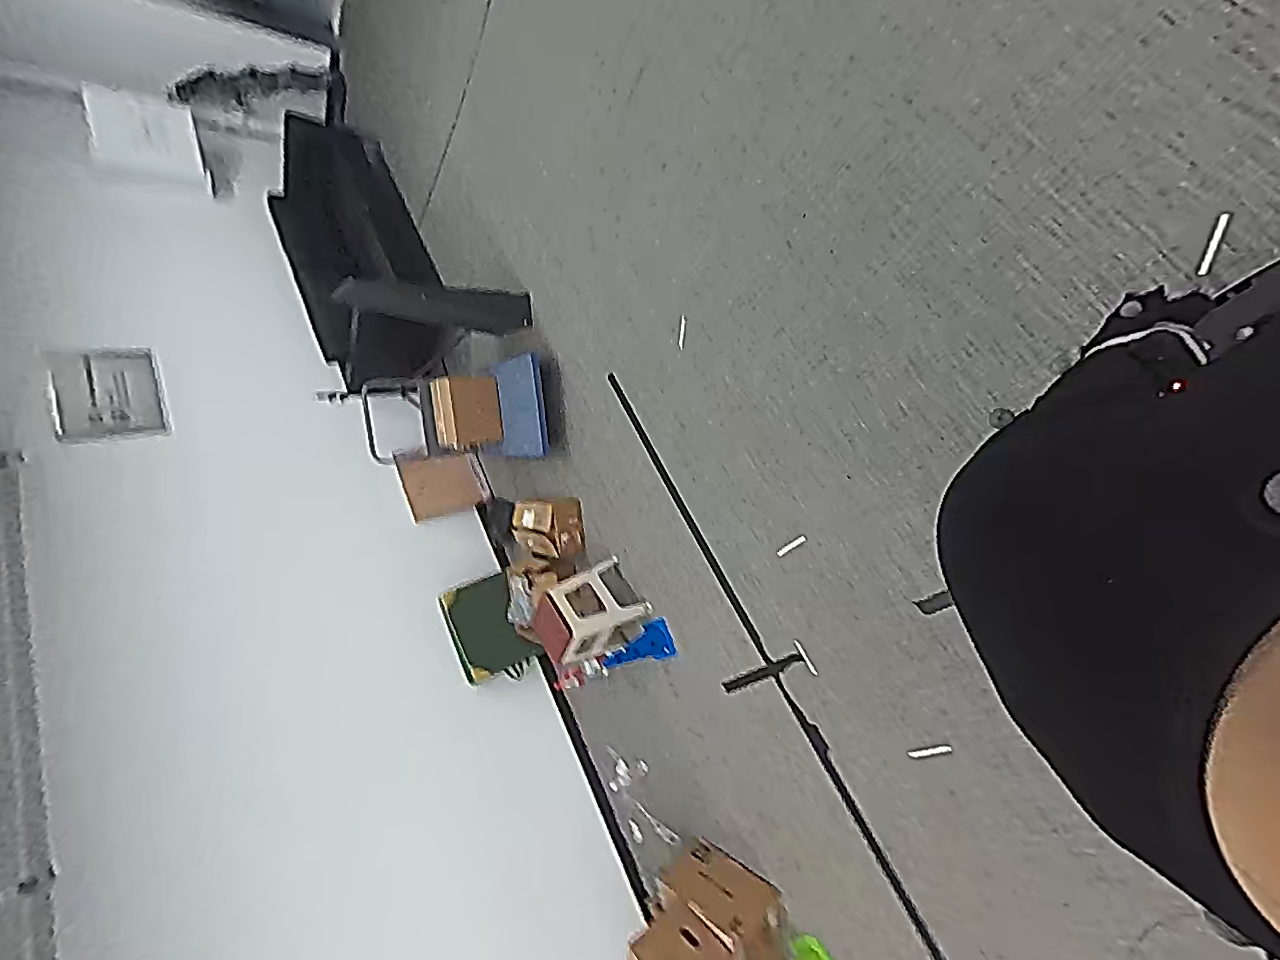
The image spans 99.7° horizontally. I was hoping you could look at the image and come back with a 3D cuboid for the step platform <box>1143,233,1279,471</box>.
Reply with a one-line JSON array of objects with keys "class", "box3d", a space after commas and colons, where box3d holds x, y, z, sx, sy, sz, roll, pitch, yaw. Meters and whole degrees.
[{"class": "step platform", "box3d": [1.295, -0.131, 0.964, 0.286, 0.204, 0.684, -50, 60, 44]}]
